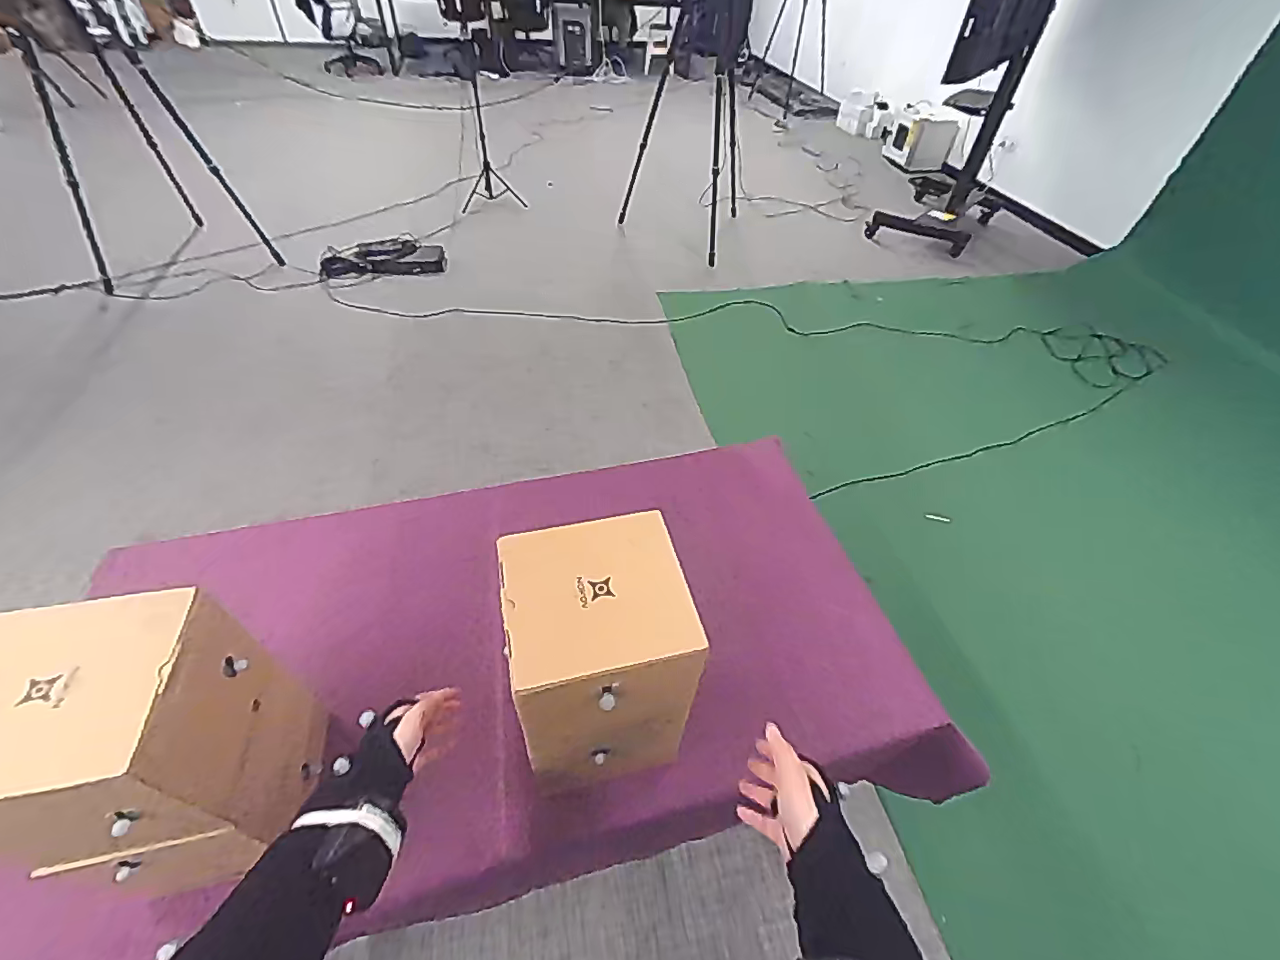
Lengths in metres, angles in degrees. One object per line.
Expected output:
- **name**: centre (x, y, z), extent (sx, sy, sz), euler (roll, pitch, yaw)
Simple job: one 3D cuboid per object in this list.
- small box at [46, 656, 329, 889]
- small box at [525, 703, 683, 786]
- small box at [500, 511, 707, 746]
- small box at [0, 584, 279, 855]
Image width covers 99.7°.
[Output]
- **small box**: centre (-0.479, 0.330, 0.614), extent (0.168, 0.176, 0.179), euler (-8, 48, -10)
- **small box**: centre (-0.055, 0.270, 0.695), extent (0.179, 0.176, 0.168), euler (-8, 48, -11)
- **small box**: centre (-0.045, 0.158, 0.576), extent (0.179, 0.176, 0.168), euler (-9, 49, -11)
- **small box**: centre (-0.471, 0.219, 0.494), extent (0.179, 0.176, 0.168), euler (-7, 48, -9)
